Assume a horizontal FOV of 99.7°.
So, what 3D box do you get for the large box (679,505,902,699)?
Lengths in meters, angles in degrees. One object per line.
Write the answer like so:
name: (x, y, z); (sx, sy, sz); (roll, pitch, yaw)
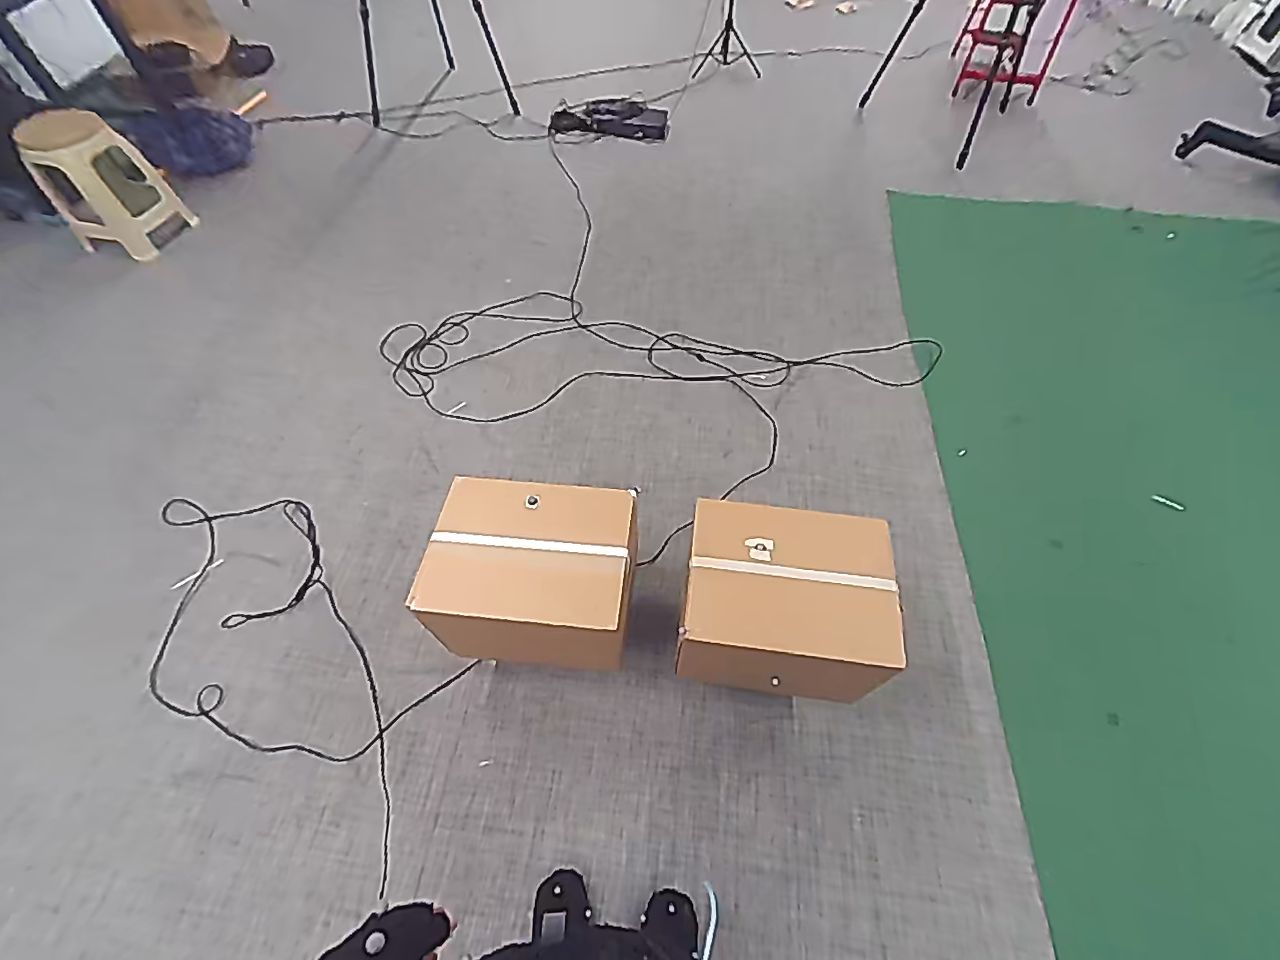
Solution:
large box: (0.307, 0.280, 1.208); (0.408, 0.320, 0.320); (7, 56, 5)
